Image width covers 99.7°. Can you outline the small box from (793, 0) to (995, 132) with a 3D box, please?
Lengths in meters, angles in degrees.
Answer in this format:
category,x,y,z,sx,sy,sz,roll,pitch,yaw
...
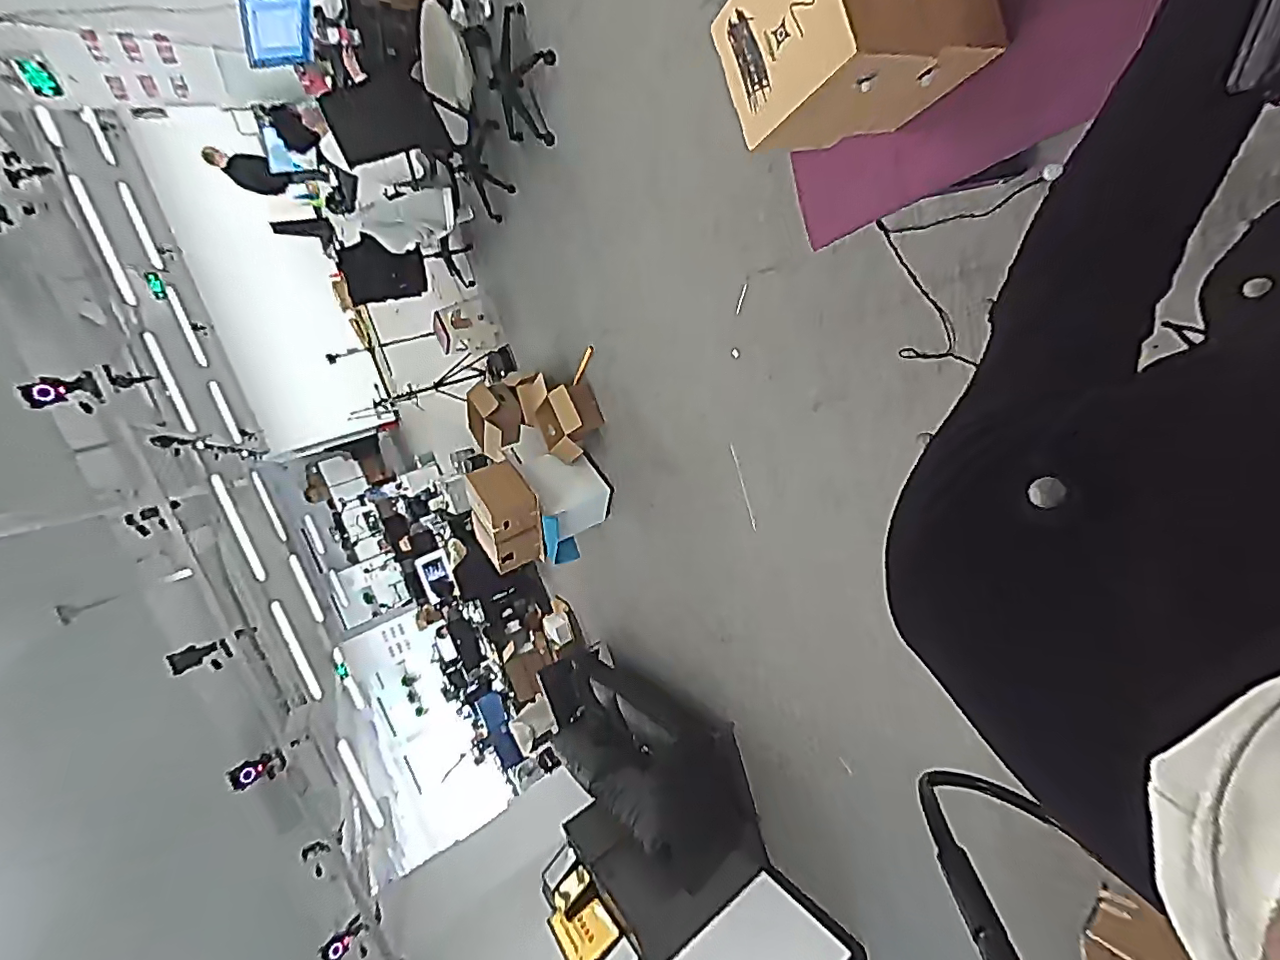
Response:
category,x,y,z,sx,sy,sz,roll,pitch,yaw
small box,0.350,-0.614,0.739,0.179,0.176,0.168,-8,104,61
